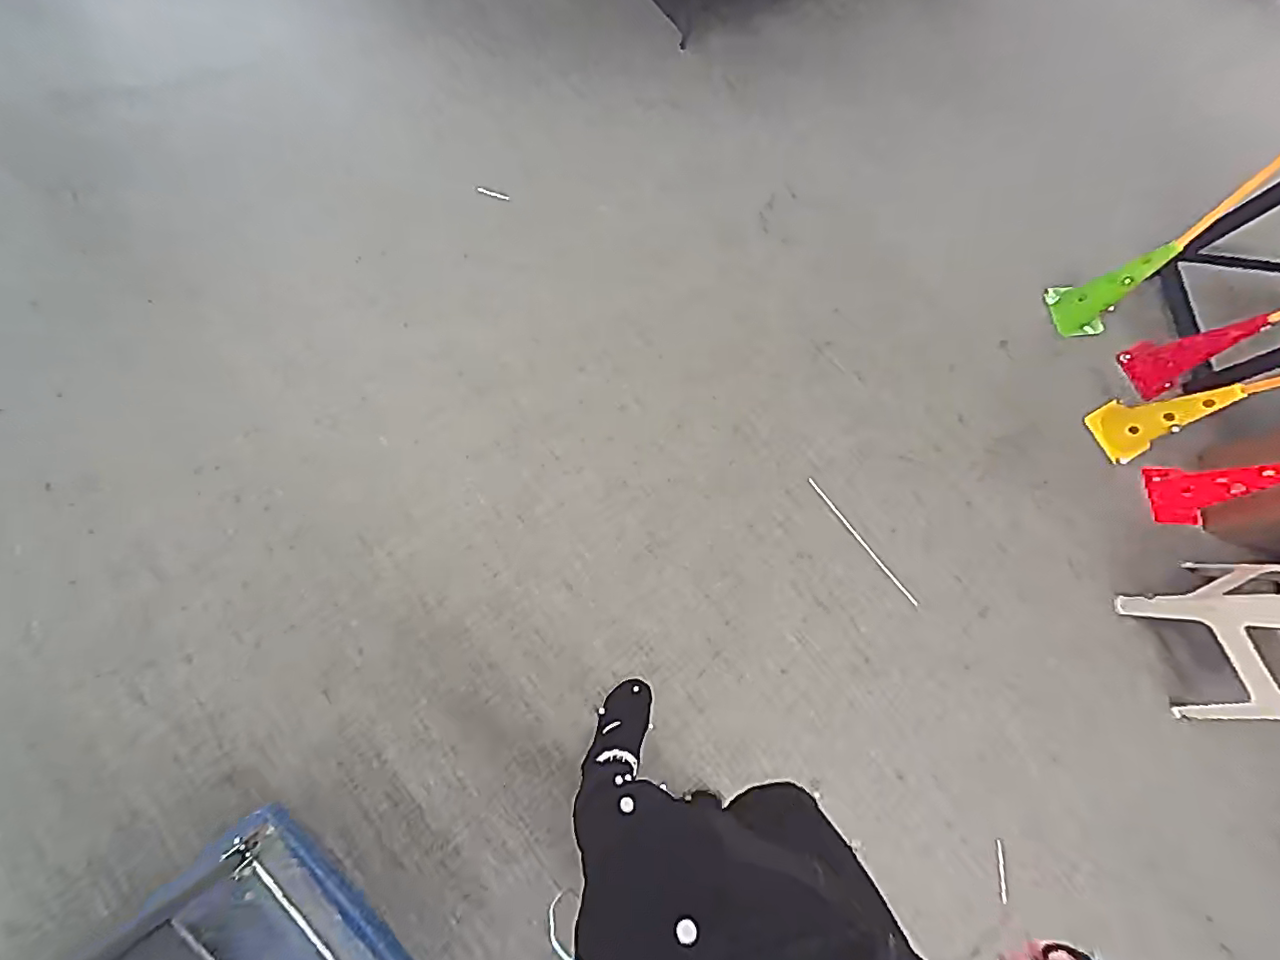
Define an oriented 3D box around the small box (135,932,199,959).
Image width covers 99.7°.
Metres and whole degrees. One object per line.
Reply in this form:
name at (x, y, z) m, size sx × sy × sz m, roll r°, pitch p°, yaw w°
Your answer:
small box at (-0.819, 0.883, 0.847) m, size 0.179 × 0.176 × 0.168 m, roll -39°, pitch 84°, yaw -19°
